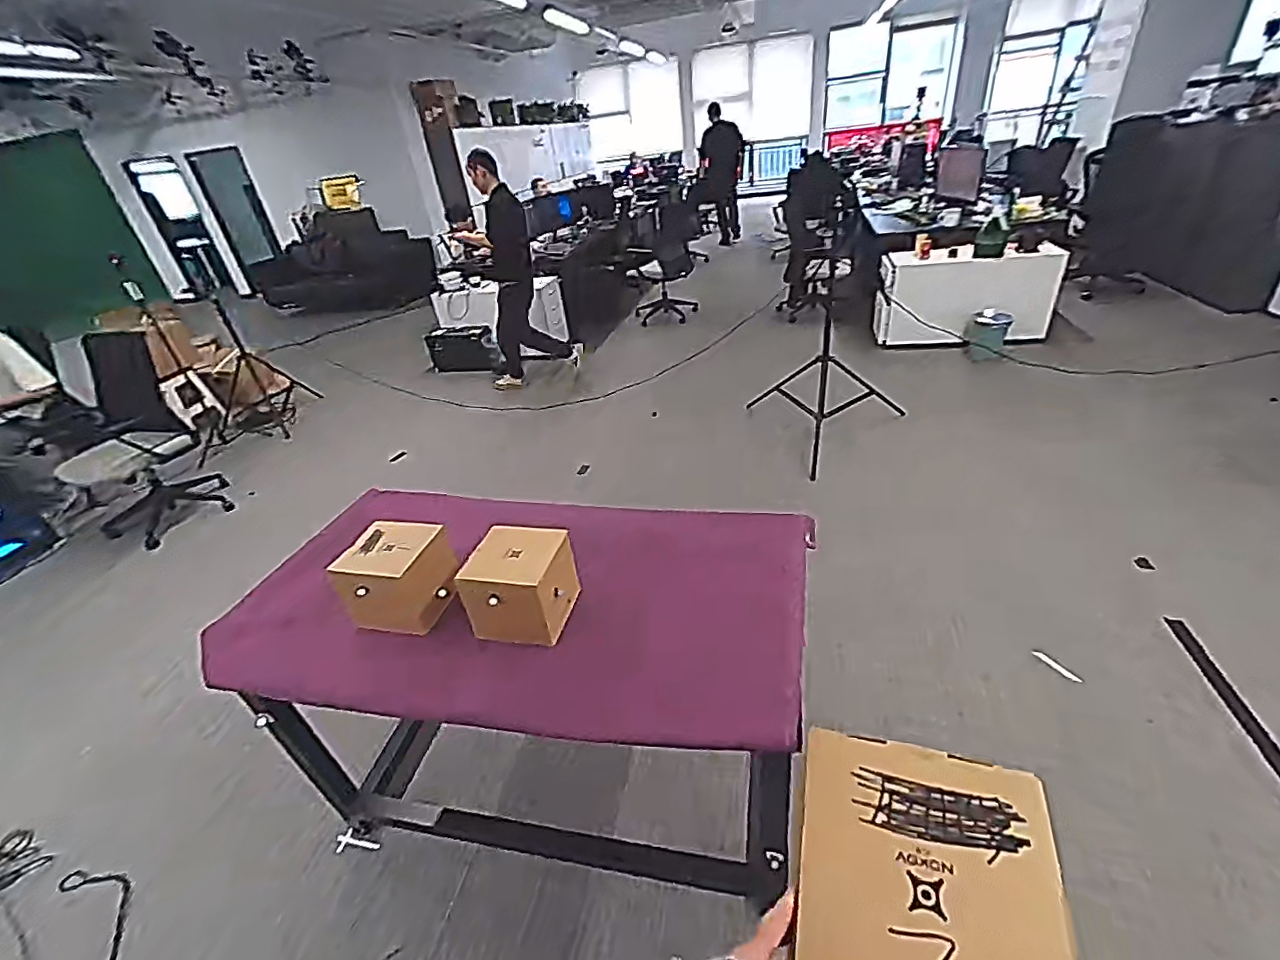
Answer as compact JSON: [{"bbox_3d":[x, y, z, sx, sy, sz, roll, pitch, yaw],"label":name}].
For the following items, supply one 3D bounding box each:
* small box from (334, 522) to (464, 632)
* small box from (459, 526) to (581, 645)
[{"bbox_3d":[-0.510,0.210,1.174,0.179,0.176,0.168,2,34,14],"label":"small box"},{"bbox_3d":[-0.233,0.215,1.108,0.179,0.176,0.168,2,33,15],"label":"small box"}]
